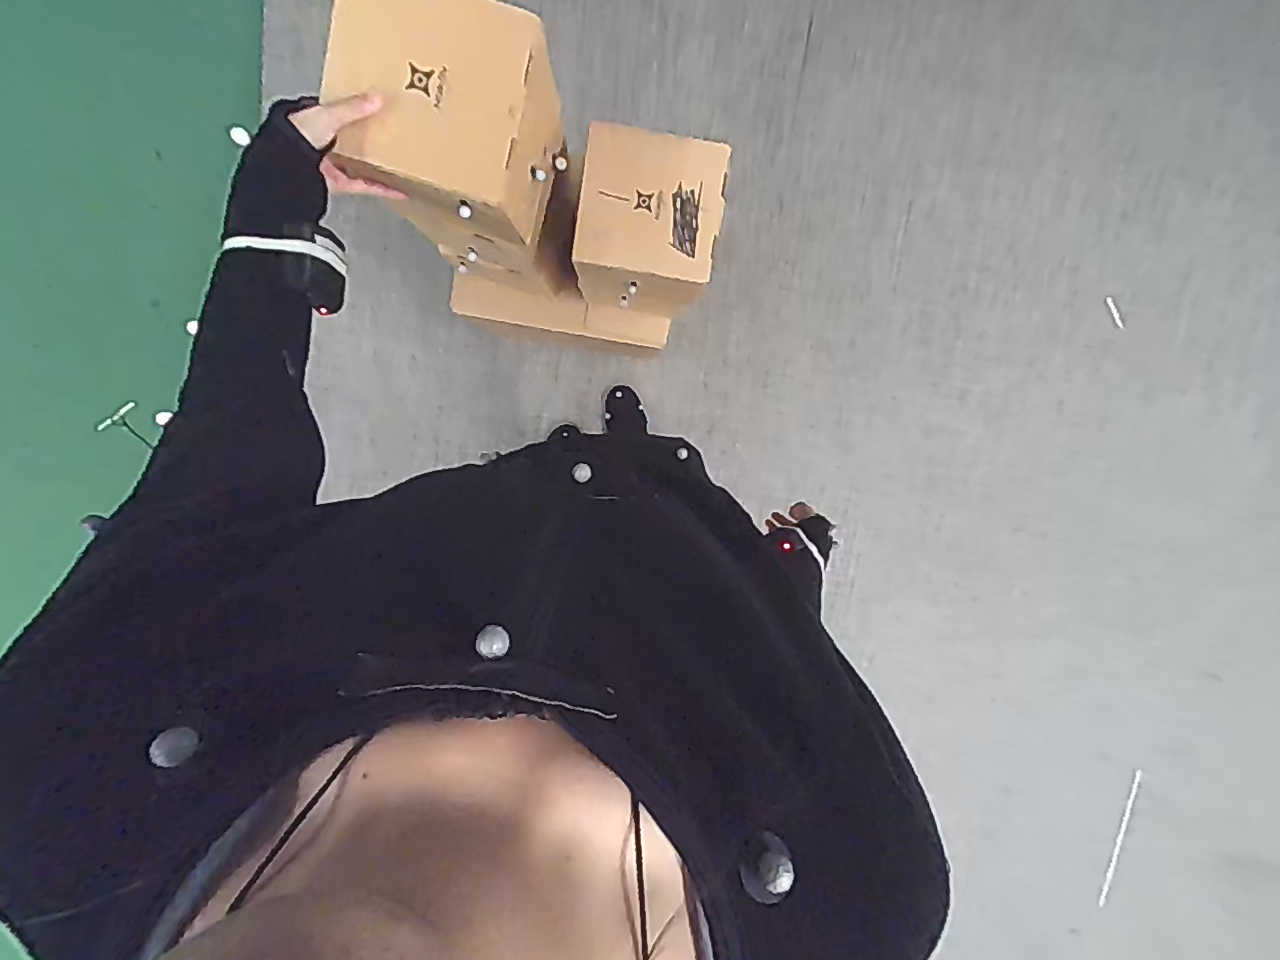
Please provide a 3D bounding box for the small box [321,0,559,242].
[{"bbox_3d":[-0.194,-0.372,0.572,0.179,0.176,0.168,14,100,-5],"label":"small box"}]

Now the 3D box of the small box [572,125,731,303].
[{"bbox_3d":[0.013,-0.349,0.746,0.179,0.176,0.168,9,98,-1],"label":"small box"}]
